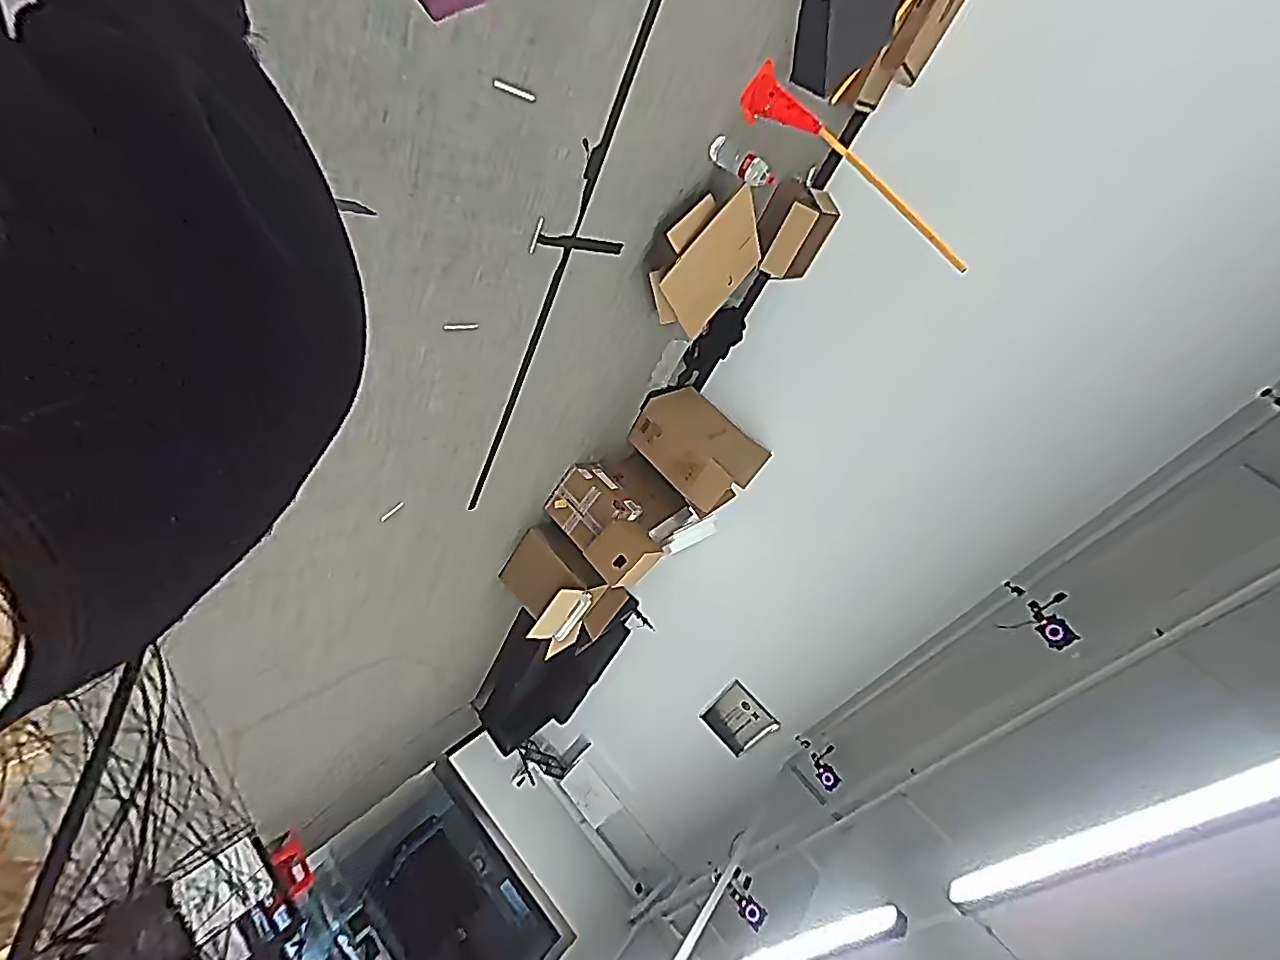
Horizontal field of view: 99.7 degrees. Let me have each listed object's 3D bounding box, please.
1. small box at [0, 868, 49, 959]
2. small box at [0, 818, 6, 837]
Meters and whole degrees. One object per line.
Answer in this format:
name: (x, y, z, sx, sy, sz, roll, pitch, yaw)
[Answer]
small box: (-1.586, 1.099, 1.303, 0.179, 0.176, 0.168, -22, 150, -54)
small box: (-1.816, 0.884, 1.400, 0.179, 0.176, 0.168, -23, 150, -50)
